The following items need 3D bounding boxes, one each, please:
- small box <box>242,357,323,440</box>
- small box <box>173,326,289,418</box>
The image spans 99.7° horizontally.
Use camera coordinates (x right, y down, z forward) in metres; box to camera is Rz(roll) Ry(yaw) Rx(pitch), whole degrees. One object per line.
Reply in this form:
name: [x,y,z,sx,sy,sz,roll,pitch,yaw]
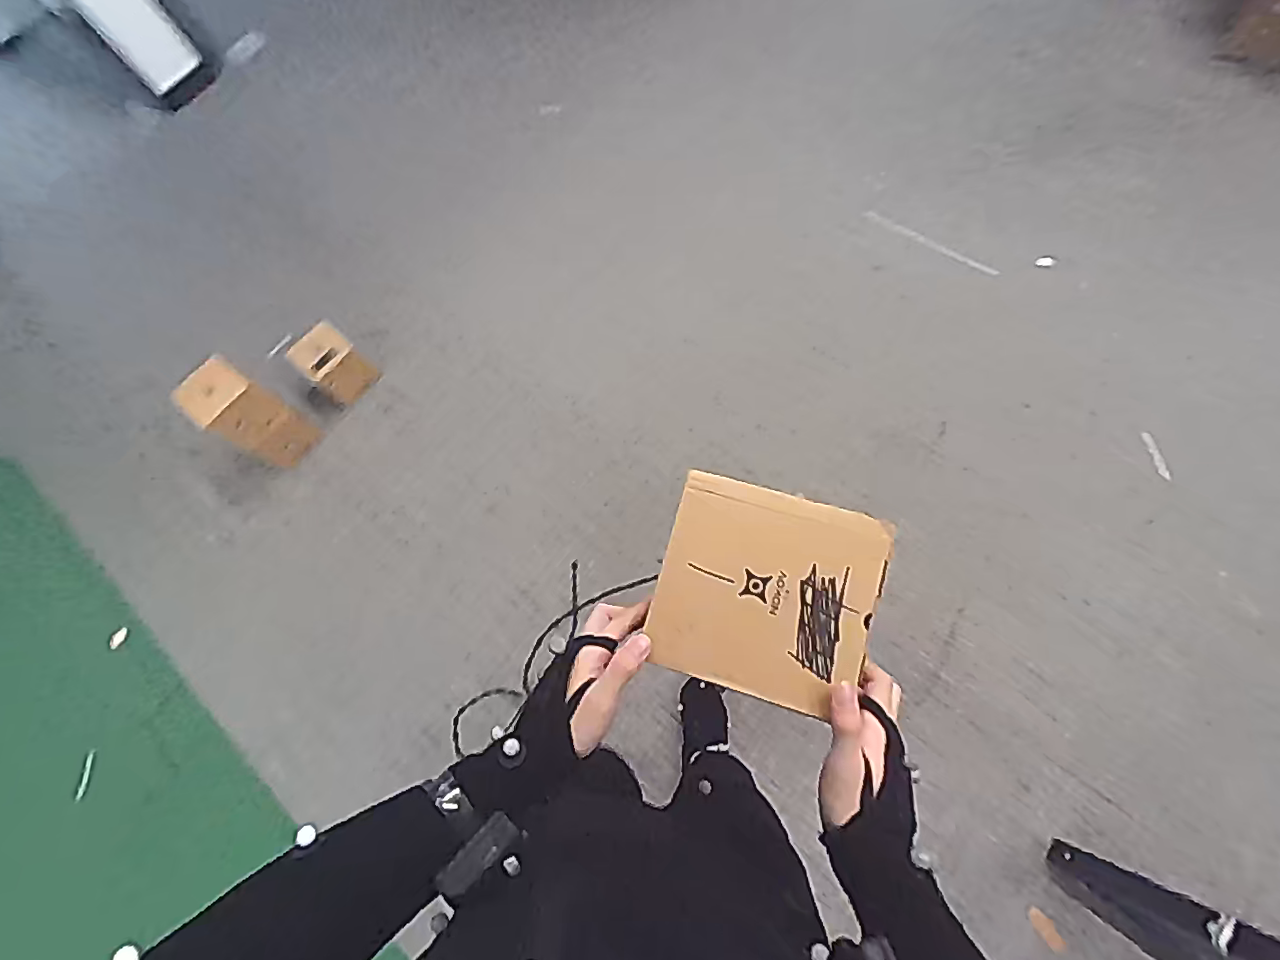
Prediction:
small box: [-1.154,-0.248,1.712,0.179,0.176,0.168,41,79,17]
small box: [-1.168,-0.301,1.559,0.179,0.176,0.168,39,80,17]
